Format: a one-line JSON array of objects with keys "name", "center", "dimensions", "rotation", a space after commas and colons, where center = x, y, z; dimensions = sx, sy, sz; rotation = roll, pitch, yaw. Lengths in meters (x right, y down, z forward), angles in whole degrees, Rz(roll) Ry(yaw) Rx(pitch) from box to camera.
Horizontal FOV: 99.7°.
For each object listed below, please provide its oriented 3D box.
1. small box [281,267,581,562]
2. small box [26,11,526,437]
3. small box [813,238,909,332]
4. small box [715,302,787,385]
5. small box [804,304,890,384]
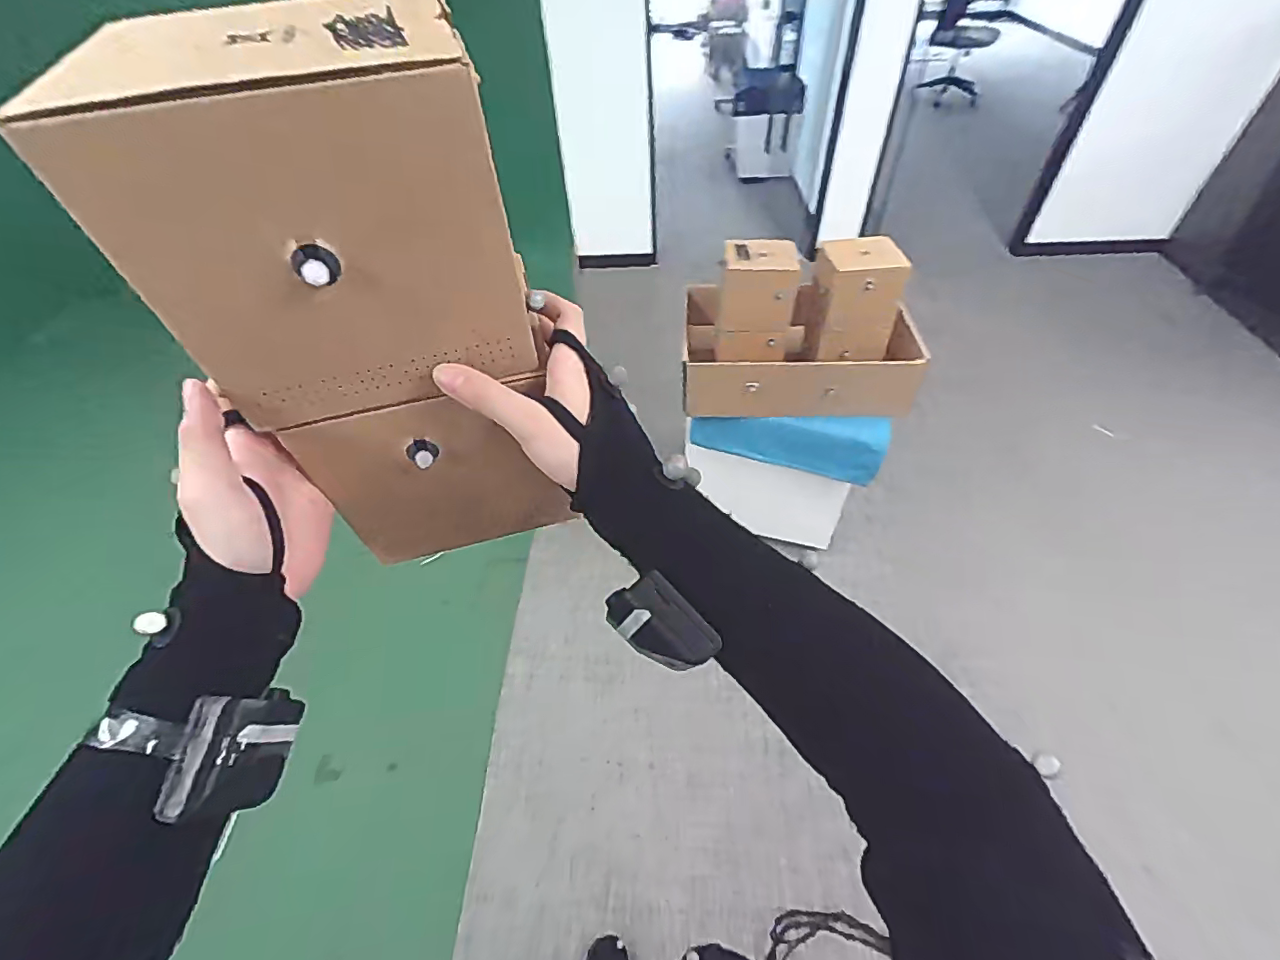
[{"name": "small box", "center": [-0.158, -0.051, 0.461], "dimensions": [0.179, 0.176, 0.168], "rotation": [-13, 51, -7]}, {"name": "small box", "center": [-0.176, -0.153, 0.334], "dimensions": [0.179, 0.176, 0.168], "rotation": [-16, 51, -8]}, {"name": "small box", "center": [0.547, -0.491, 1.373], "dimensions": [0.179, 0.176, 0.168], "rotation": [-4, 47, 2]}, {"name": "small box", "center": [0.303, -0.380, 1.516], "dimensions": [0.179, 0.176, 0.168], "rotation": [1, 47, 2]}, {"name": "small box", "center": [0.559, -0.378, 1.491], "dimensions": [0.179, 0.176, 0.168], "rotation": [-4, 46, 3]}]
